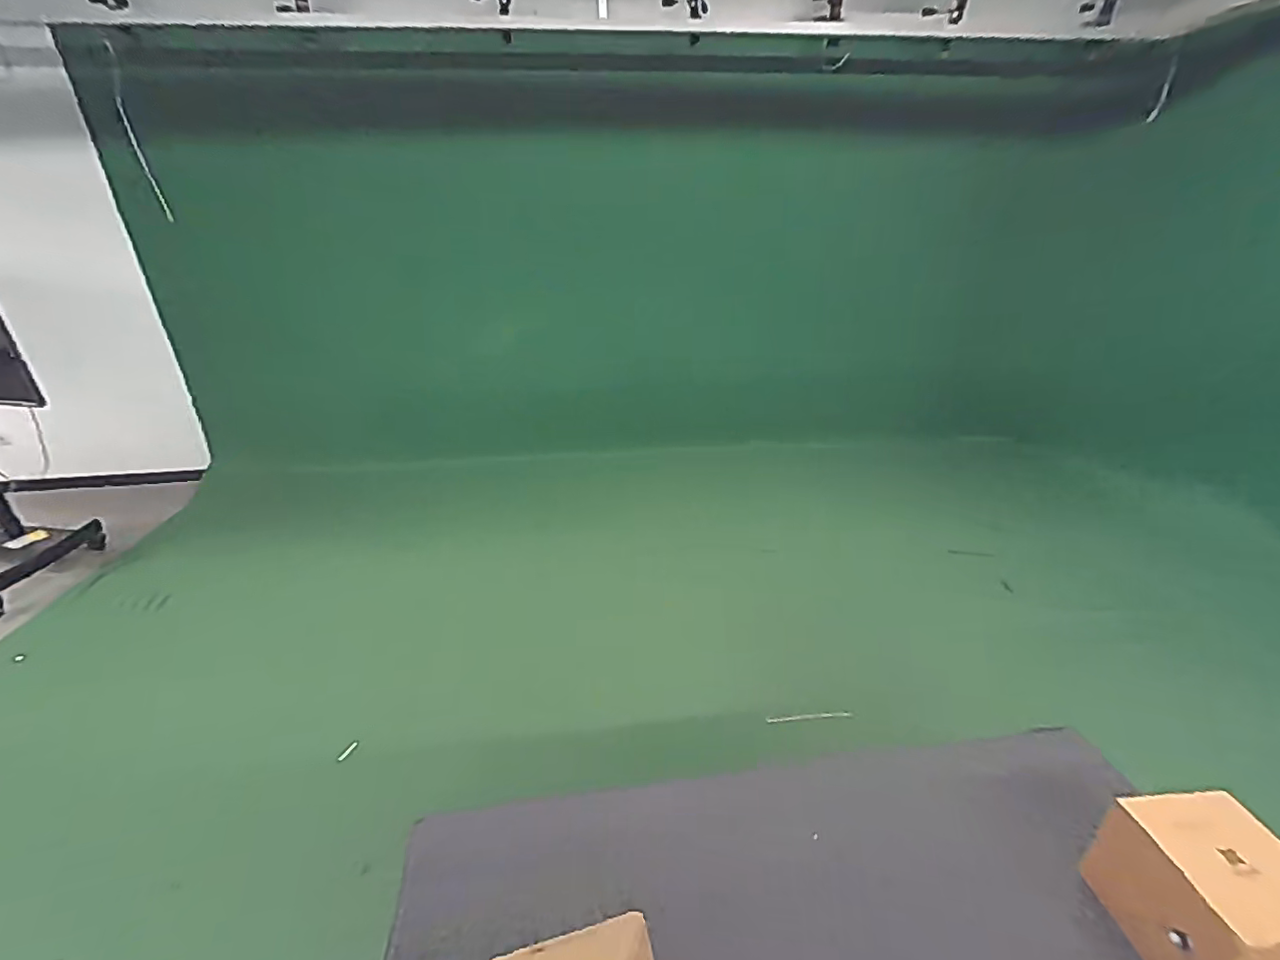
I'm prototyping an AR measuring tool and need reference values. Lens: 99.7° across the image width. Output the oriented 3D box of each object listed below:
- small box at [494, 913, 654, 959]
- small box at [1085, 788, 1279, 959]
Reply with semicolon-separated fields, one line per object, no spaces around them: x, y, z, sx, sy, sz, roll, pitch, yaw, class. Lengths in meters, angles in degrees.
-0.060;0.488;0.422;0.168;0.176;0.179;-18;64;-1;small box
0.746;0.542;0.706;0.168;0.176;0.179;-2;24;-4;small box
